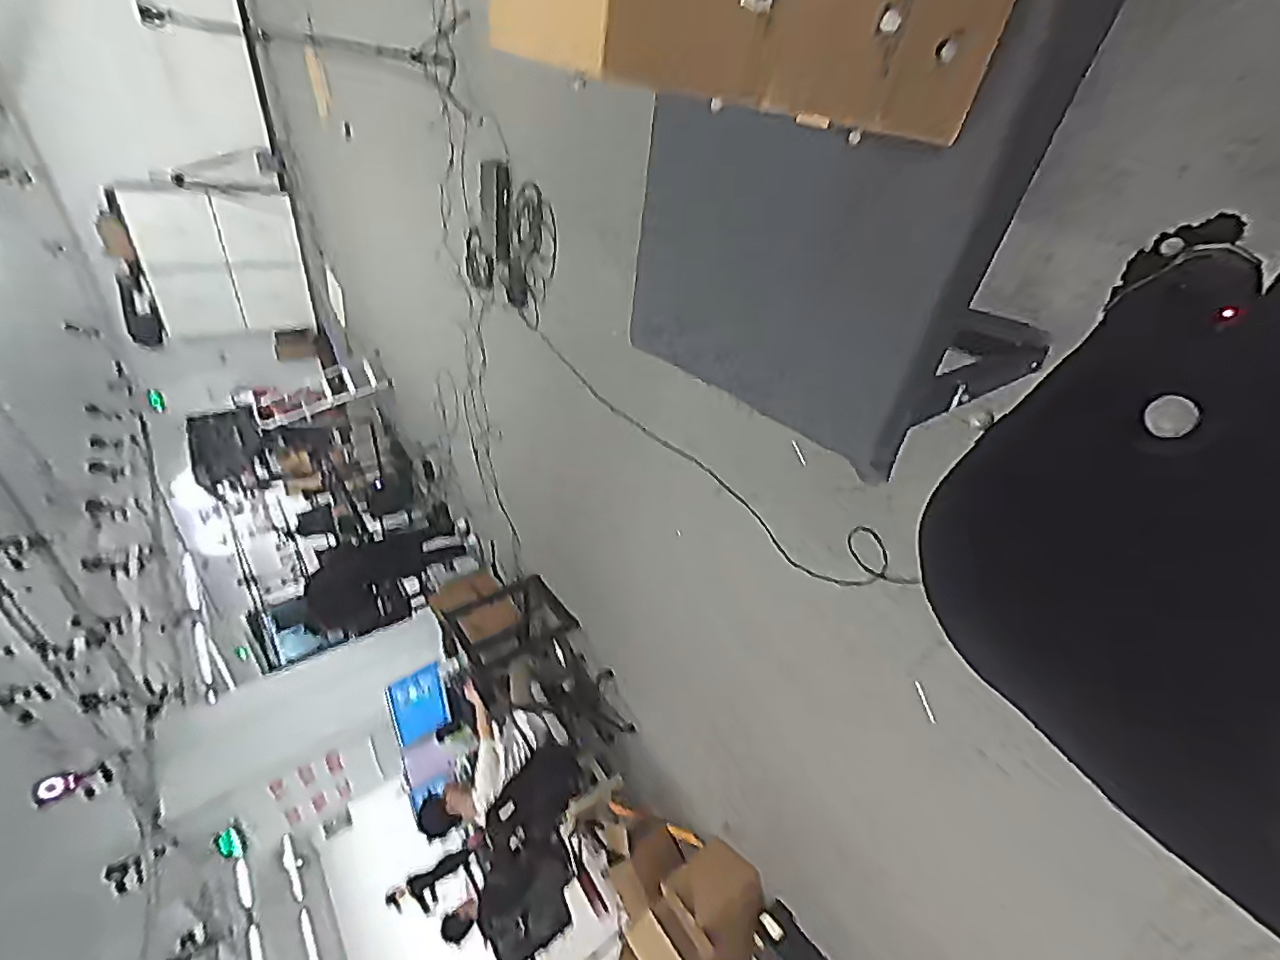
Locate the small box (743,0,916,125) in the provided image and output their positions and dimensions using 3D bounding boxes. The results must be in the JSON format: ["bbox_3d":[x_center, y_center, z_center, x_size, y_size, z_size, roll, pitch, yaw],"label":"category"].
[{"bbox_3d":[0.128,-0.440,0.498,0.179,0.176,0.168,44,138,38],"label":"small box"}]

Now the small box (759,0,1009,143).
[{"bbox_3d":[0.261,-0.480,0.585,0.168,0.176,0.179,43,138,37],"label":"small box"}]
